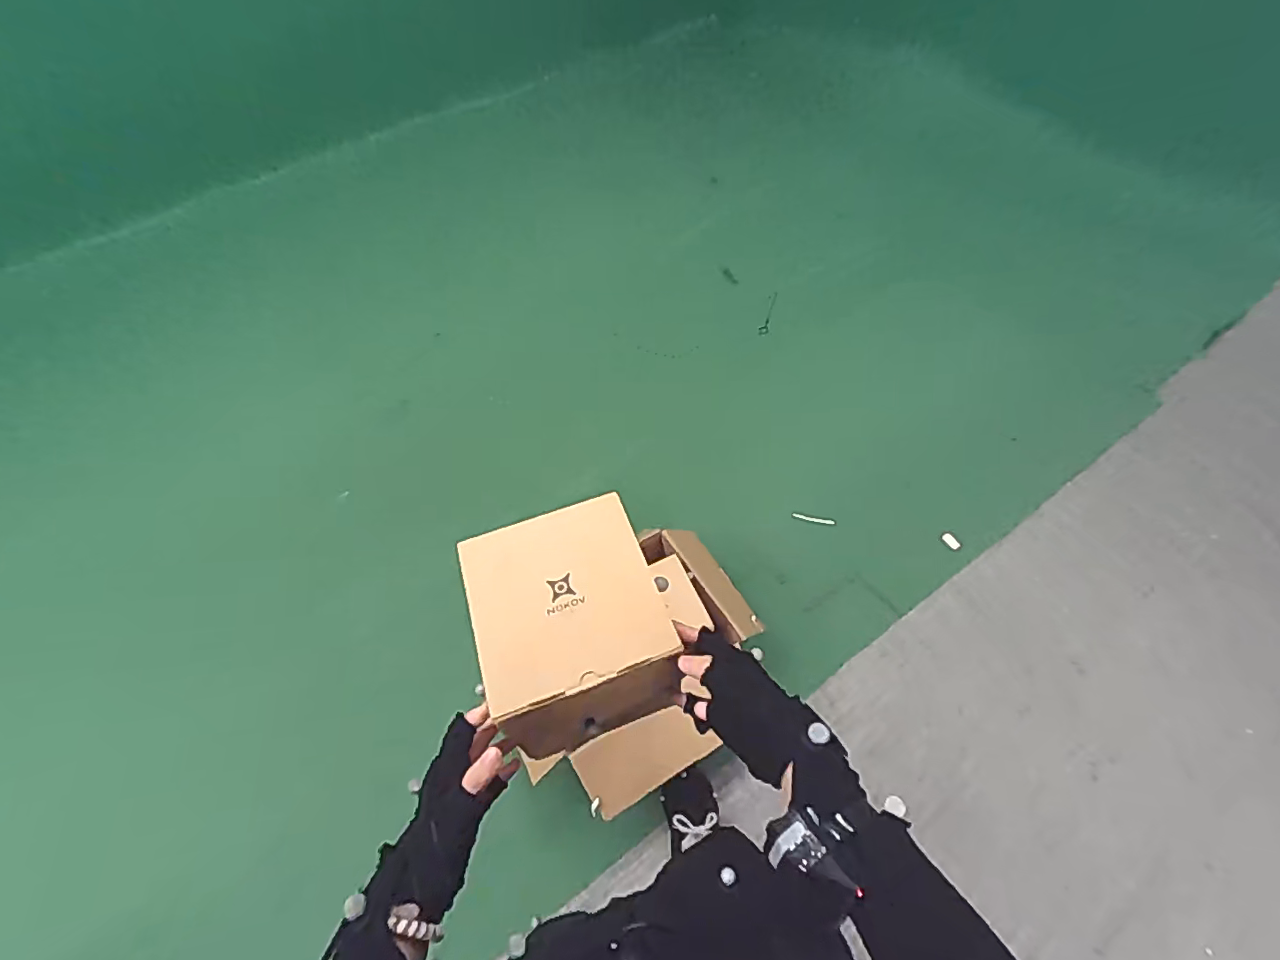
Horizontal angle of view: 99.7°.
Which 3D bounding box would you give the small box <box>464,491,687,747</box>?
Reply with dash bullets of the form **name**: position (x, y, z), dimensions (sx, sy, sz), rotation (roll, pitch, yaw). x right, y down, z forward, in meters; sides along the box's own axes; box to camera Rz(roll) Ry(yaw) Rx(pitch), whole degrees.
- **small box**: position (-0.065, 0.144, 0.553), dimensions (0.168, 0.176, 0.179), rotation (-18, 57, -12)
